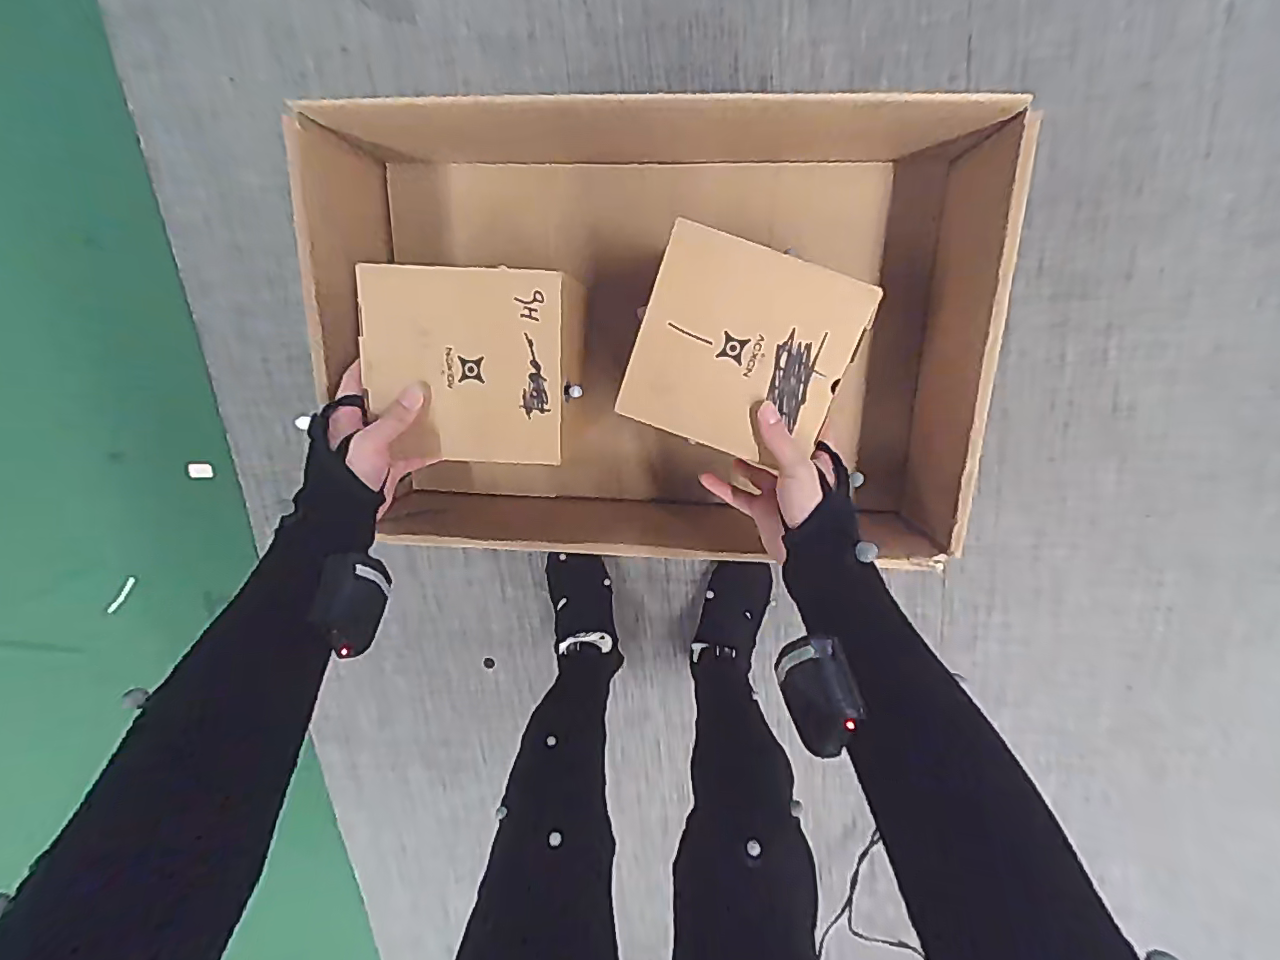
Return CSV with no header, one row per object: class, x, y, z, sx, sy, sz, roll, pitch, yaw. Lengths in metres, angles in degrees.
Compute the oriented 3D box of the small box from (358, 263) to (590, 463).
small box,-0.152,-0.117,0.549,0.179,0.176,0.168,3,104,3
